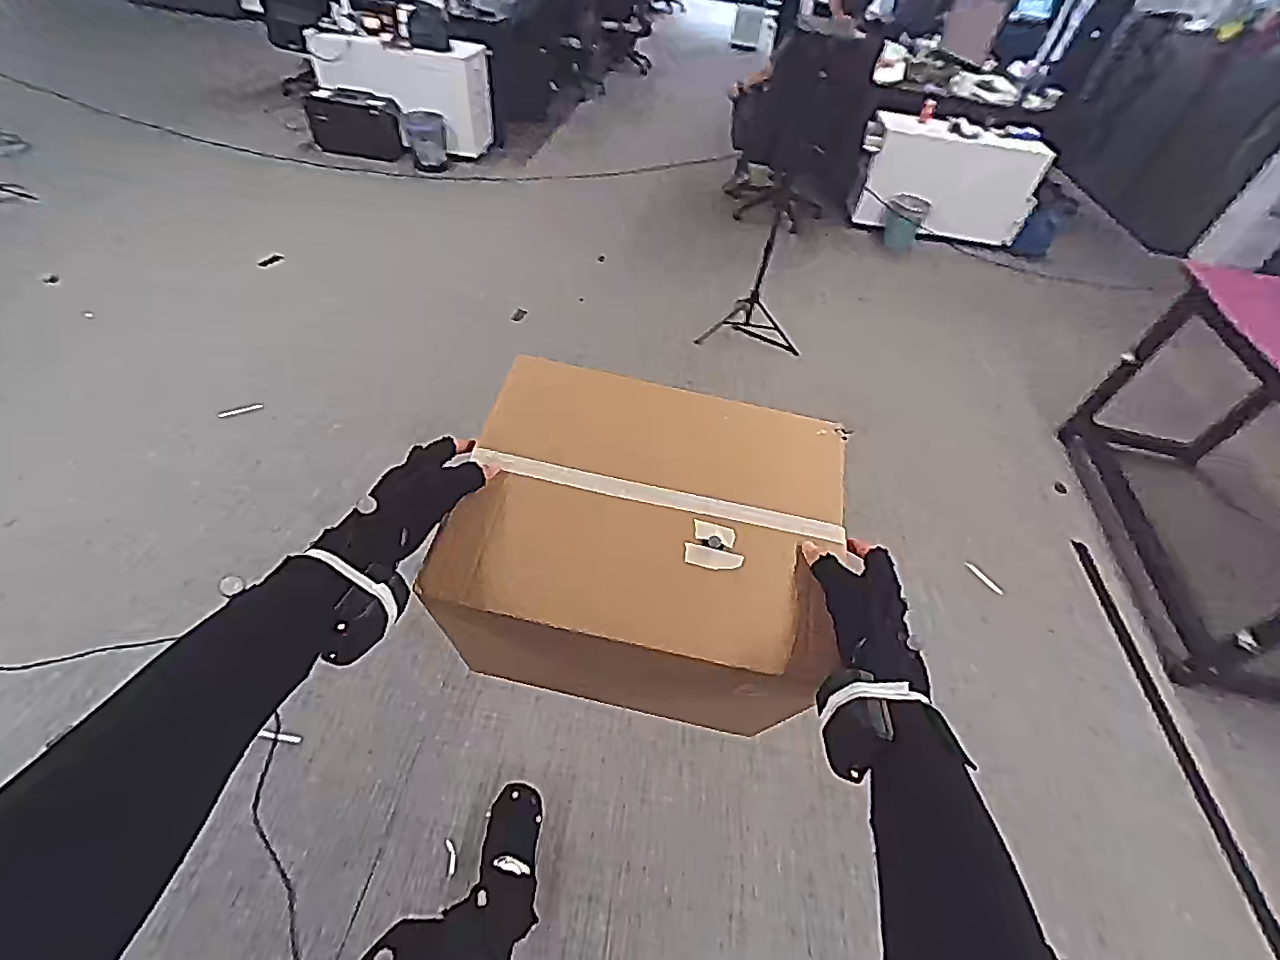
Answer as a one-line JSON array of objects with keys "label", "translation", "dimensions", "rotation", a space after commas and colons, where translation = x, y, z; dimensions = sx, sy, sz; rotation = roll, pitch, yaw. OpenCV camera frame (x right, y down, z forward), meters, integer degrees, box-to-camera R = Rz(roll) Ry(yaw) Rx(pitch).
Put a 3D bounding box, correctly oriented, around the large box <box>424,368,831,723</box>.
[{"label": "large box", "translation": [-0.006, 0.101, 0.715], "dimensions": [0.408, 0.320, 0.320], "rotation": [12, 58, 0]}]
